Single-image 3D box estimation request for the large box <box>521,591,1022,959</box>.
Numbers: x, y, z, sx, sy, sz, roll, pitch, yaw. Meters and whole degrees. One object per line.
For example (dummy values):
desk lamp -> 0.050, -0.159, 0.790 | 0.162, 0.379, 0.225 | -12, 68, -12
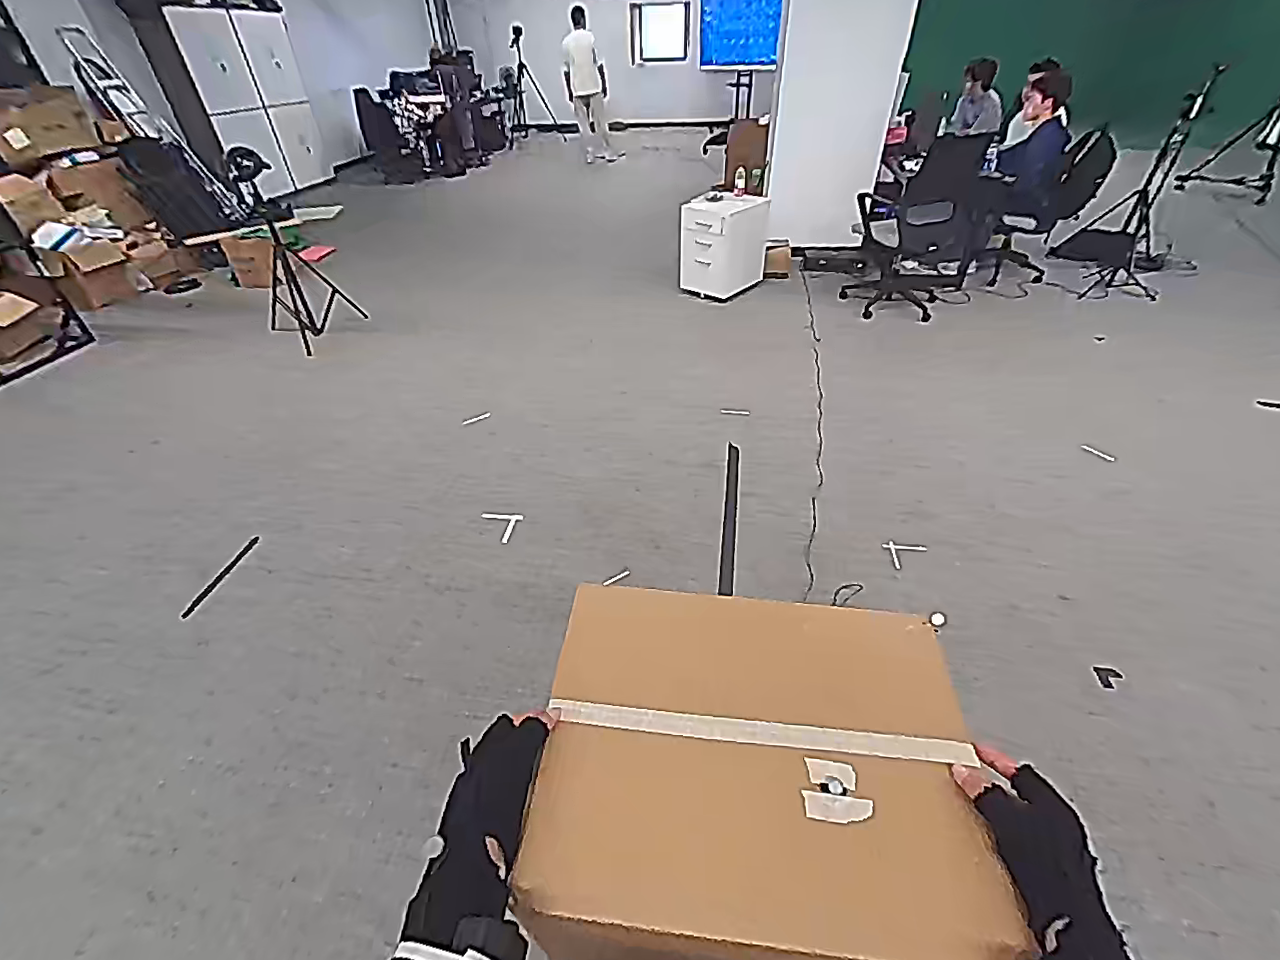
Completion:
large box -> 0.112, 0.360, 0.635 | 0.408, 0.320, 0.320 | 4, 43, 5
